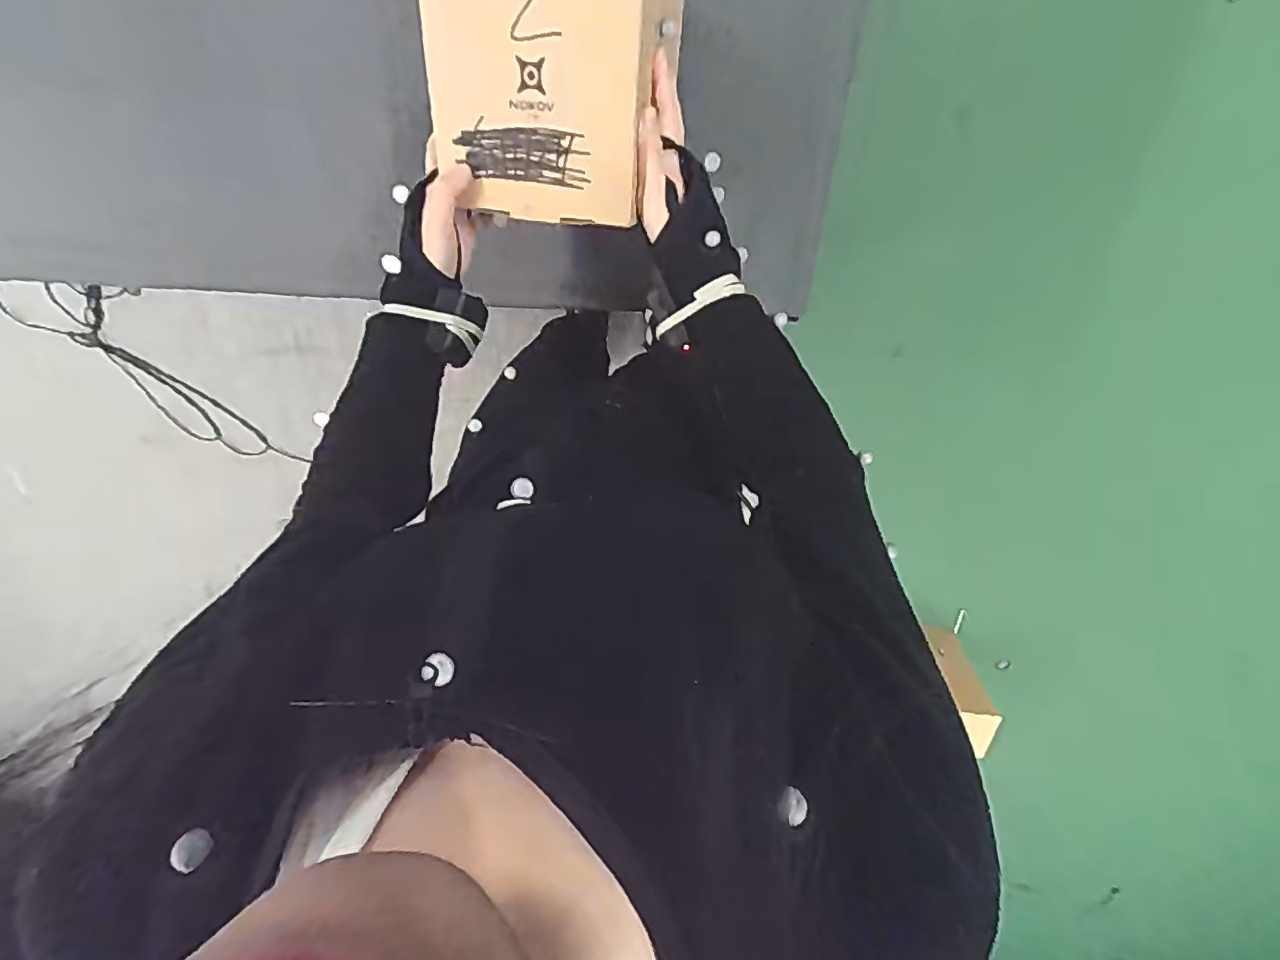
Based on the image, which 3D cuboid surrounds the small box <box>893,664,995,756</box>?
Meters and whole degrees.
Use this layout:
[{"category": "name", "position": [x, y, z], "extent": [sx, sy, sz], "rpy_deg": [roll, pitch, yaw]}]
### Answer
[{"category": "small box", "position": [0.836, 0.637, 1.508], "extent": [0.179, 0.176, 0.168], "rpy_deg": [4, 117, 4]}]
